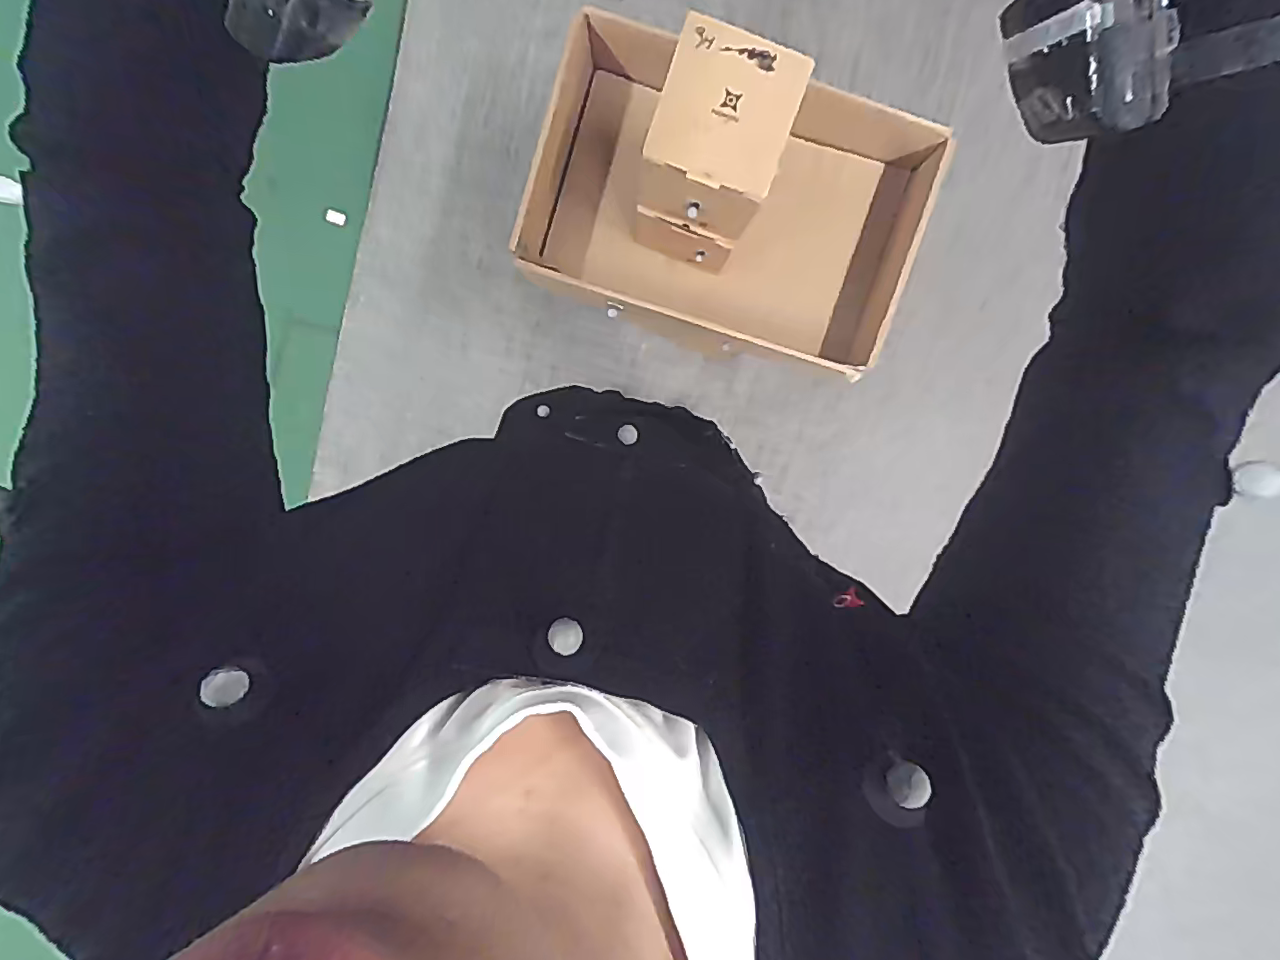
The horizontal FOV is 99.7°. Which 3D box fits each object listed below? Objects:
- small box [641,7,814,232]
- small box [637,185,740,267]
[{"bbox_3d":[0.107,-0.468,0.738,0.168,0.176,0.179,19,98,-4],"label":"small box"},{"bbox_3d":[0.101,-0.481,0.902,0.168,0.176,0.179,20,95,-4],"label":"small box"}]
